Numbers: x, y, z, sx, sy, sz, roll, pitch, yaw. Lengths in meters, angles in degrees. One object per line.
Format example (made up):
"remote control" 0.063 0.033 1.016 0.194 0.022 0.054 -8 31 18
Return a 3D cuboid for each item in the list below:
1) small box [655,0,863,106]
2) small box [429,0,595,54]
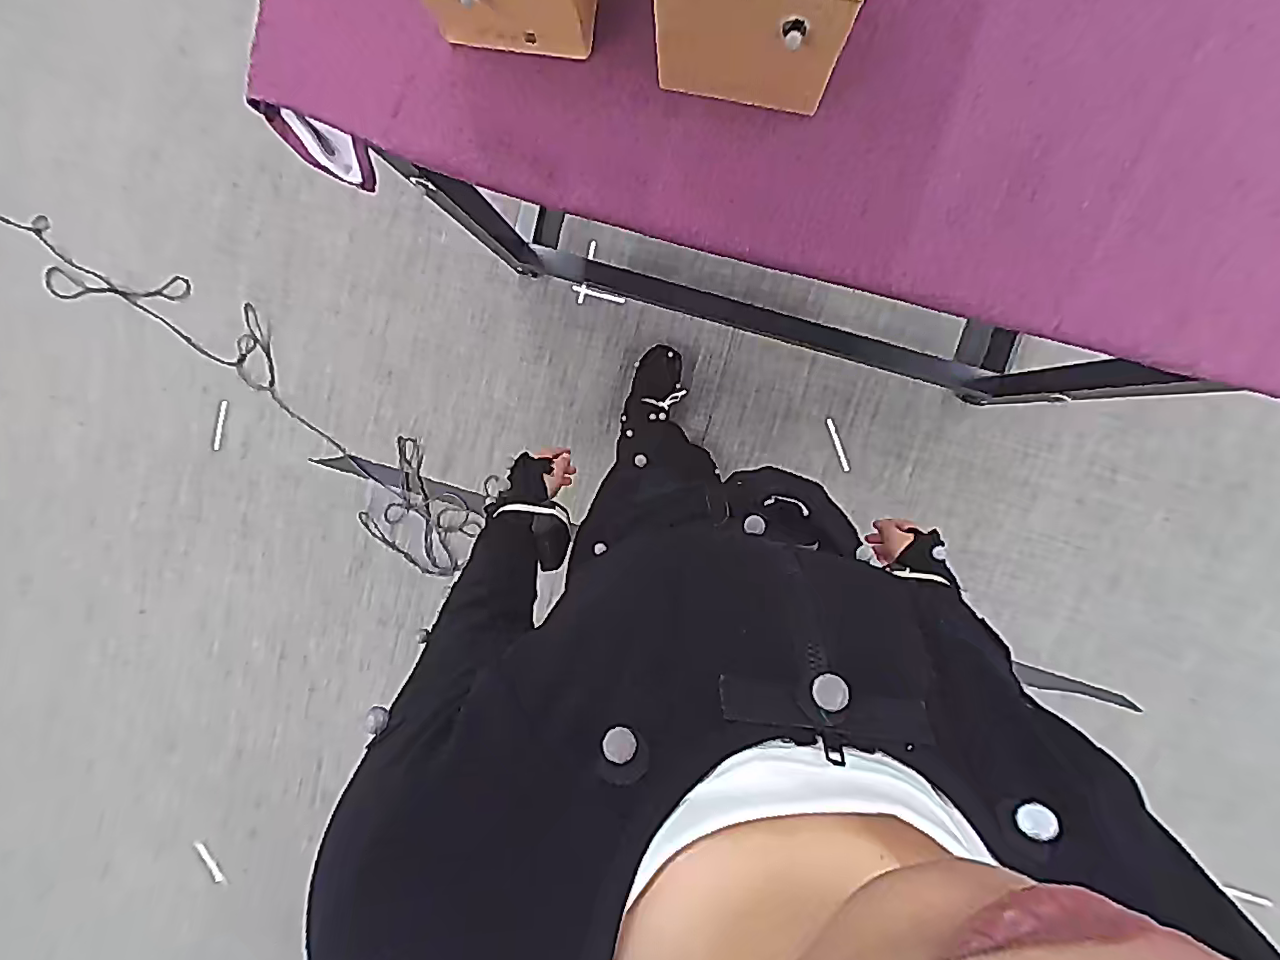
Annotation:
"small box" 0.116 -0.487 0.501 0.179 0.176 0.168 12 96 3
"small box" -0.131 -0.556 0.517 0.168 0.176 0.179 10 97 4
